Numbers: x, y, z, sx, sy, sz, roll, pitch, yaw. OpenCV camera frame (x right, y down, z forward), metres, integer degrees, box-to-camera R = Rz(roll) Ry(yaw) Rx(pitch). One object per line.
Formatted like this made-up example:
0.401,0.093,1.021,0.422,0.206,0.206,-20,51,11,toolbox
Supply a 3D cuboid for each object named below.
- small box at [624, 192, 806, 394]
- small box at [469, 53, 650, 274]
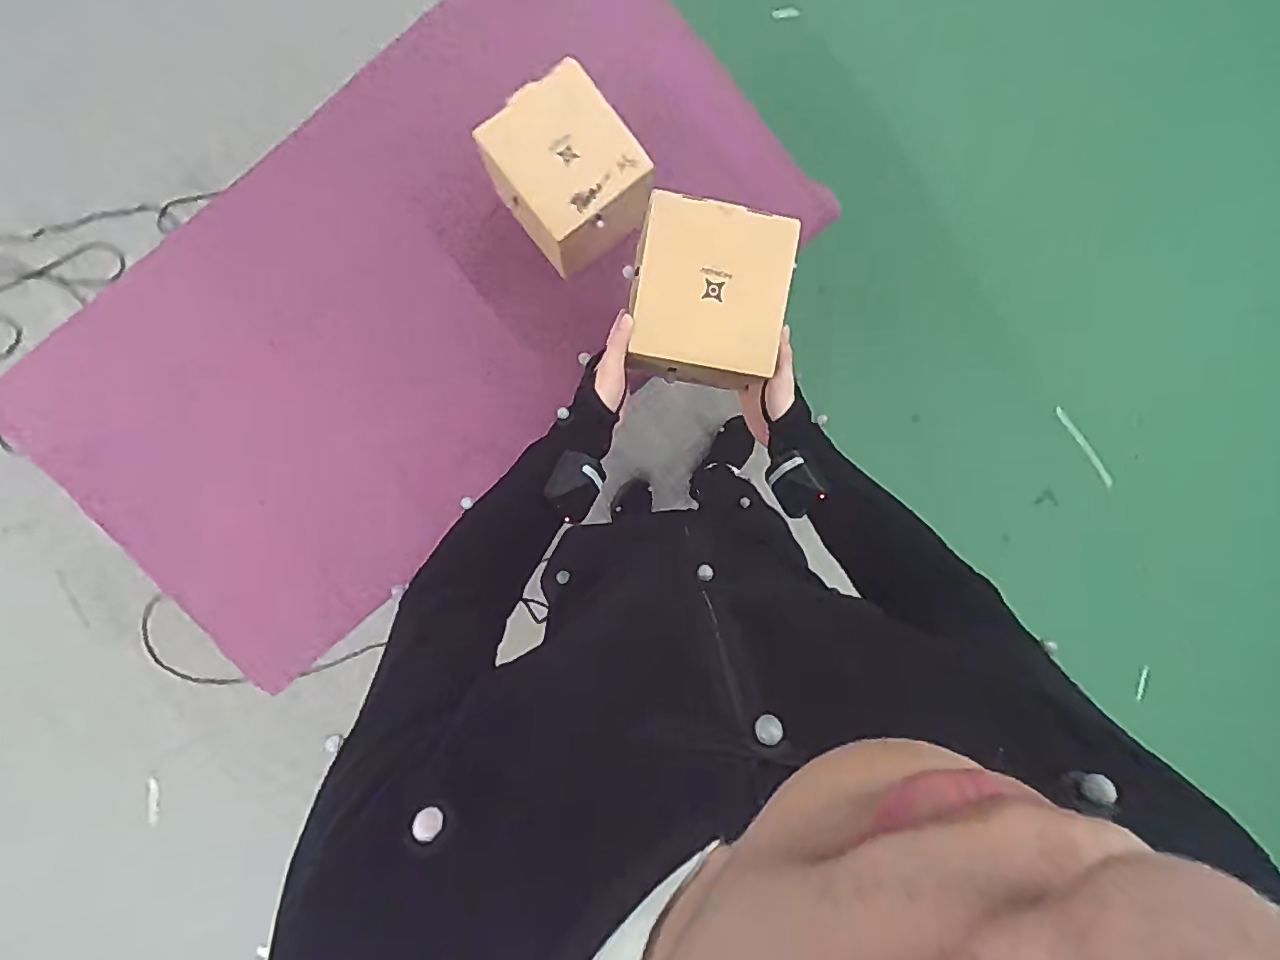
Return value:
0.076,-0.206,0.652,0.168,0.176,0.179,10,93,-6,small box
-0.108,-0.429,0.767,0.168,0.176,0.179,-39,95,-1,small box
